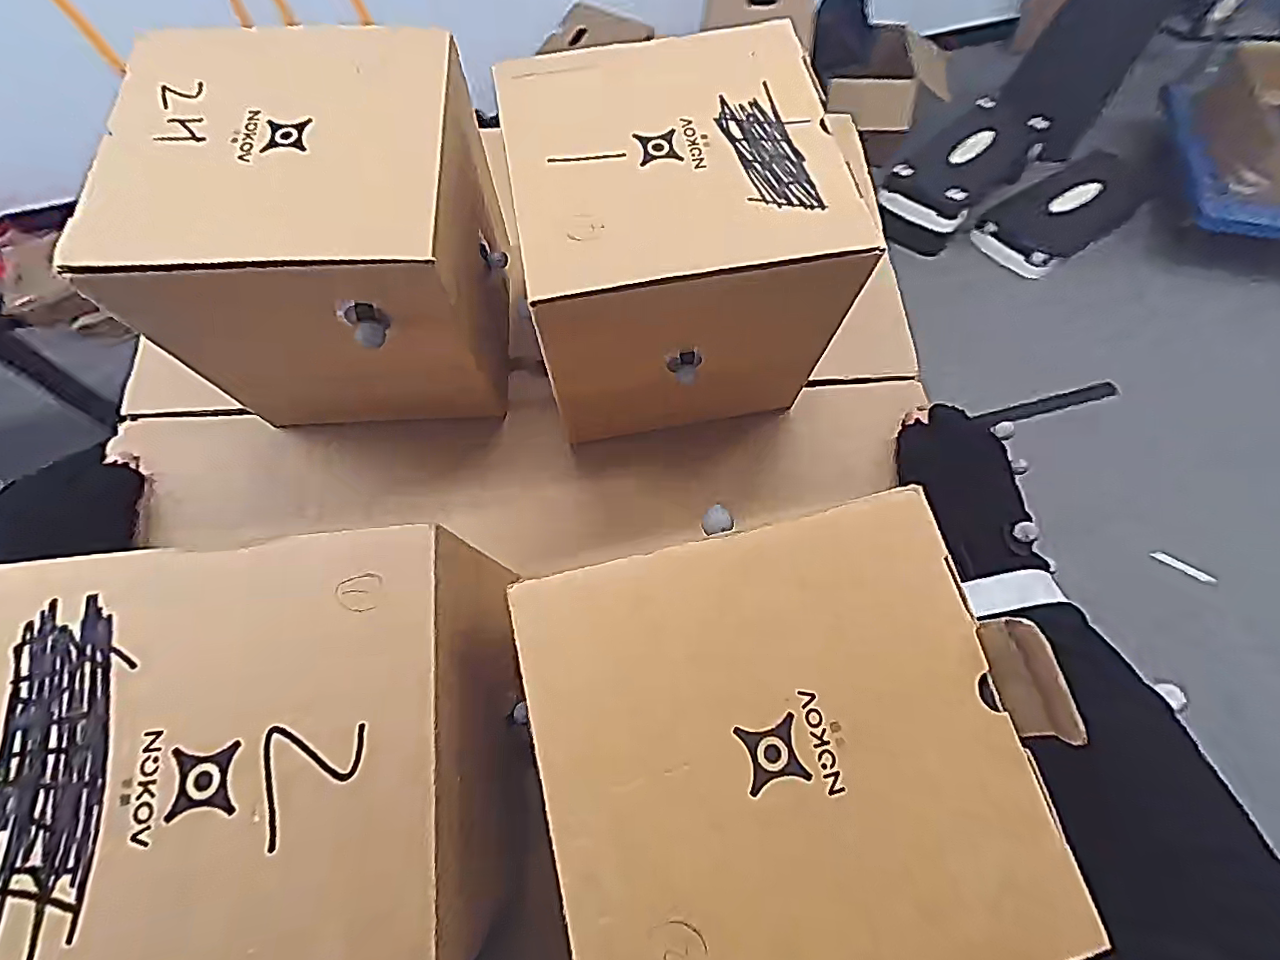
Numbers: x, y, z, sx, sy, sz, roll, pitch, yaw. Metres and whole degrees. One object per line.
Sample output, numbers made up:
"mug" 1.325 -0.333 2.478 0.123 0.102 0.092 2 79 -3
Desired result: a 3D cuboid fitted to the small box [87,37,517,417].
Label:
"small box" -0.186 -0.152 0.366 0.179 0.176 0.168 -1 70 -1
